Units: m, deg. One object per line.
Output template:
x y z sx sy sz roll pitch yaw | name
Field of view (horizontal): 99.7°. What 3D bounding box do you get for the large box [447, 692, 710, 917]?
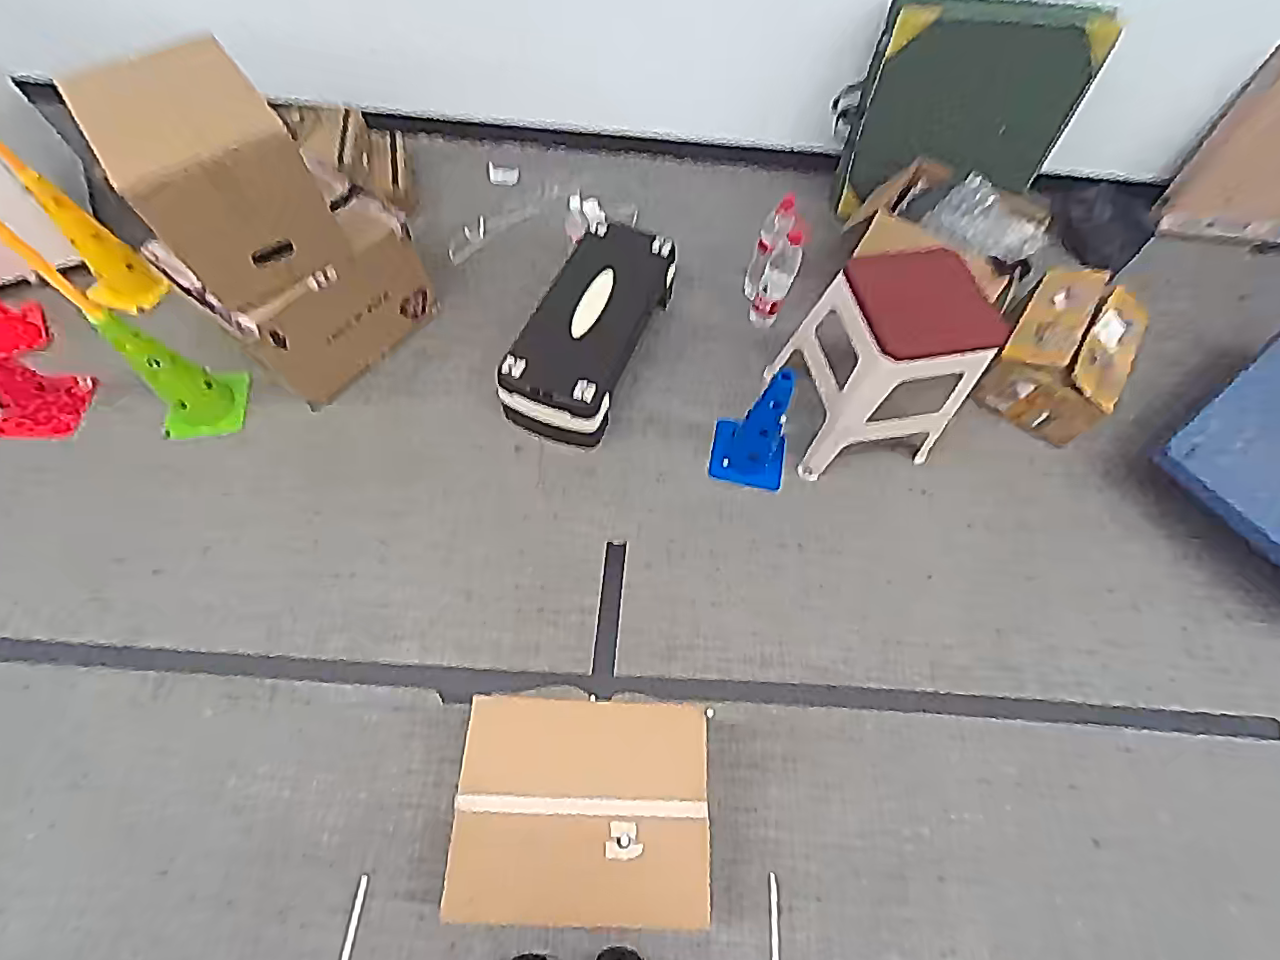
-0.100 0.582 1.009 0.408 0.320 0.320 4 64 -3 | large box
